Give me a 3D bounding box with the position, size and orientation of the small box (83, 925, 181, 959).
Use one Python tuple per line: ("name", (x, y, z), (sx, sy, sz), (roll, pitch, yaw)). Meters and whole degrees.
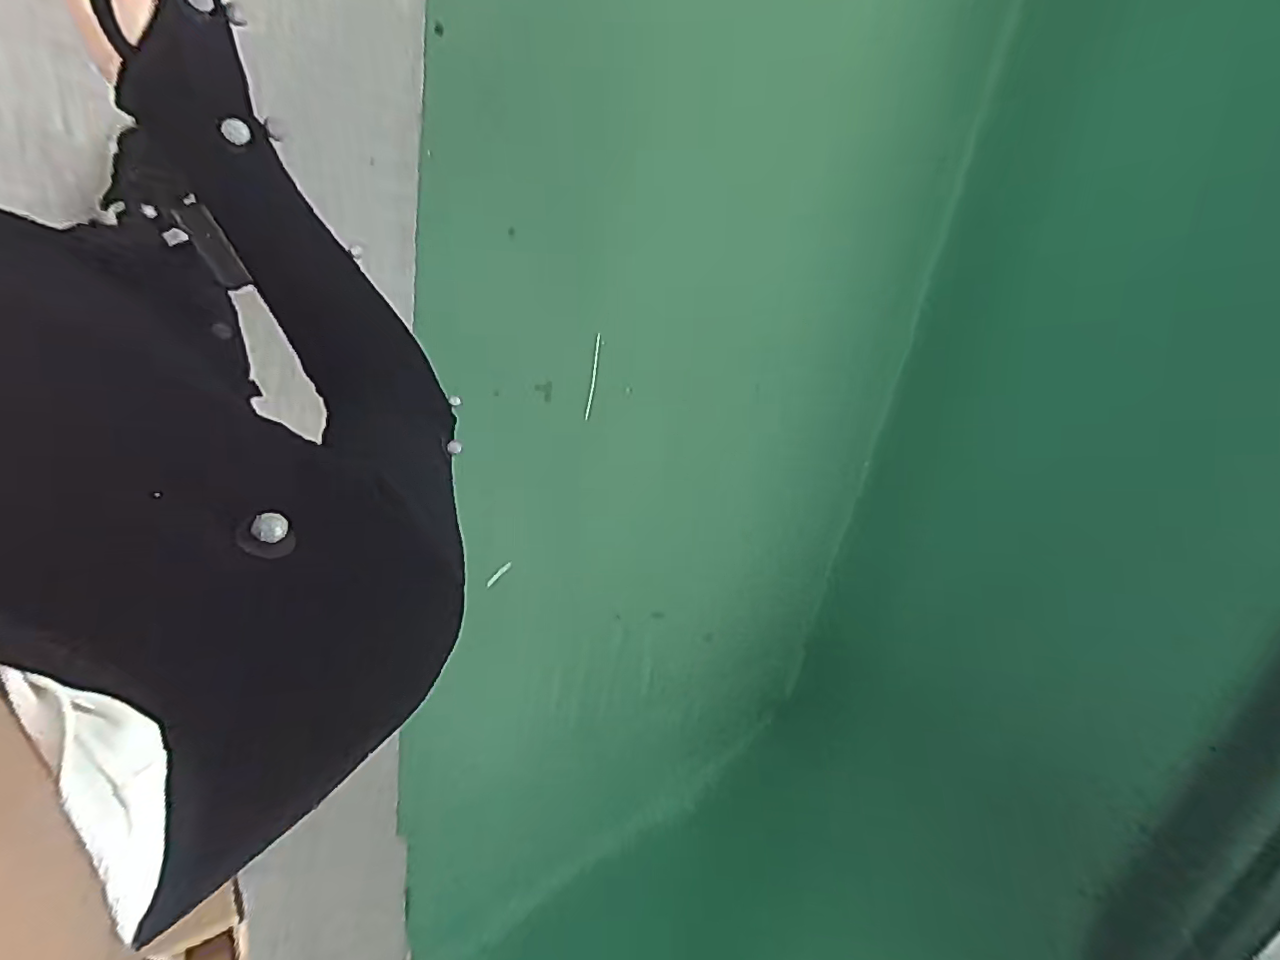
("small box", (-0.912, 0.948, 0.947), (0.168, 0.176, 0.179), (-6, 117, -41))
